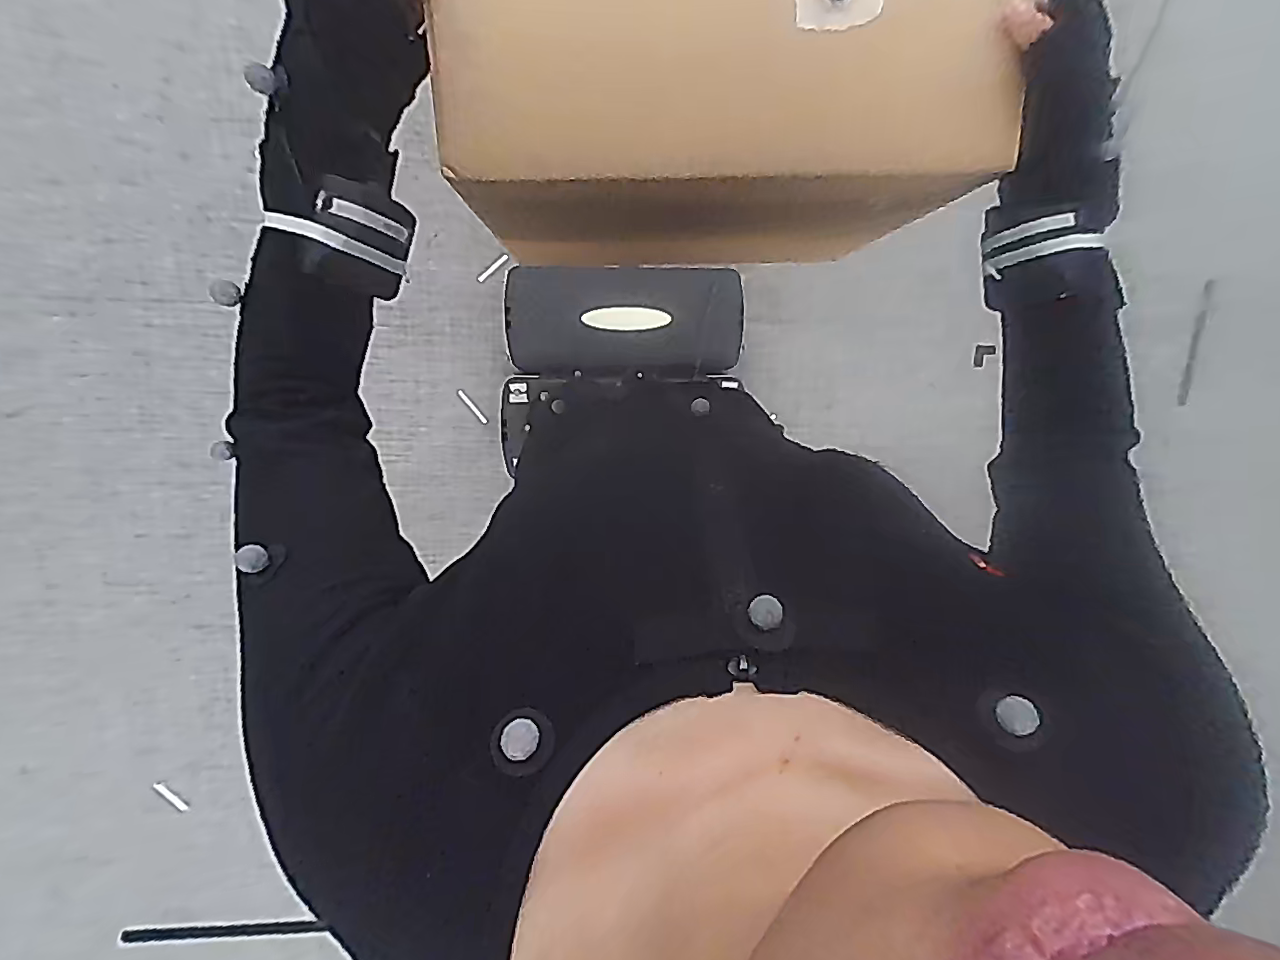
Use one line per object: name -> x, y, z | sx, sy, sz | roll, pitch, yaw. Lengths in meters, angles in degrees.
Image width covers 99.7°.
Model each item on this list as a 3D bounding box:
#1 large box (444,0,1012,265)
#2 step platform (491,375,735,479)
large box -> 0.052, -0.401, 0.510 | 0.408, 0.320, 0.320 | -3, 102, -3
step platform -> -0.073, -0.155, 1.550 | 0.684, 0.204, 0.286 | -1, 100, -4
